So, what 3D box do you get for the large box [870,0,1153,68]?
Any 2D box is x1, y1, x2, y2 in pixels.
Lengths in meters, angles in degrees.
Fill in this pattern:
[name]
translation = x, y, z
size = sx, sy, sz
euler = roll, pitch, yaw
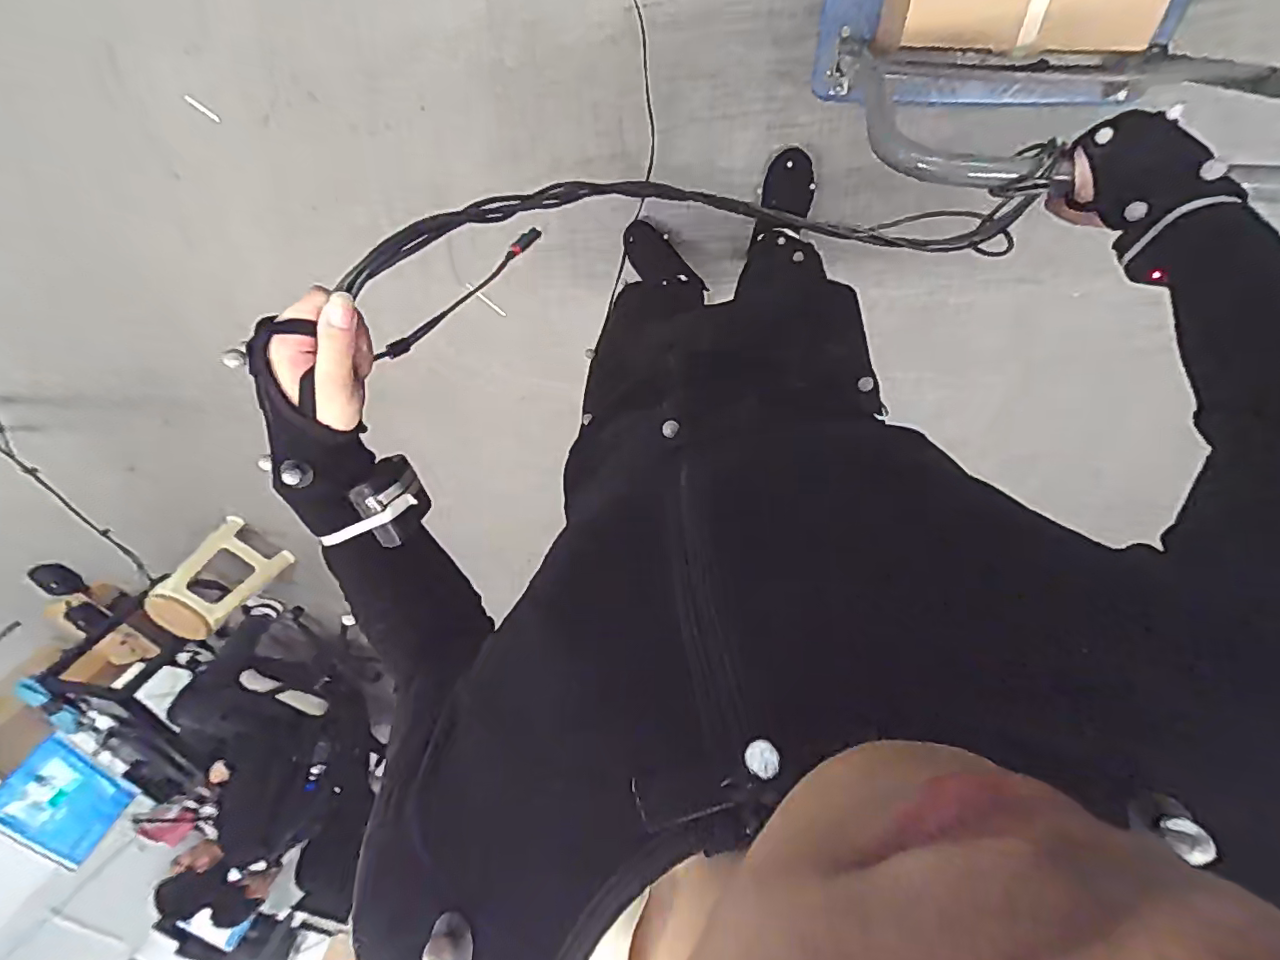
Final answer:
[large box]
translation = 0.540, -0.828, 0.750
size = 0.320, 0.320, 0.408
euler = 8, 128, 8
